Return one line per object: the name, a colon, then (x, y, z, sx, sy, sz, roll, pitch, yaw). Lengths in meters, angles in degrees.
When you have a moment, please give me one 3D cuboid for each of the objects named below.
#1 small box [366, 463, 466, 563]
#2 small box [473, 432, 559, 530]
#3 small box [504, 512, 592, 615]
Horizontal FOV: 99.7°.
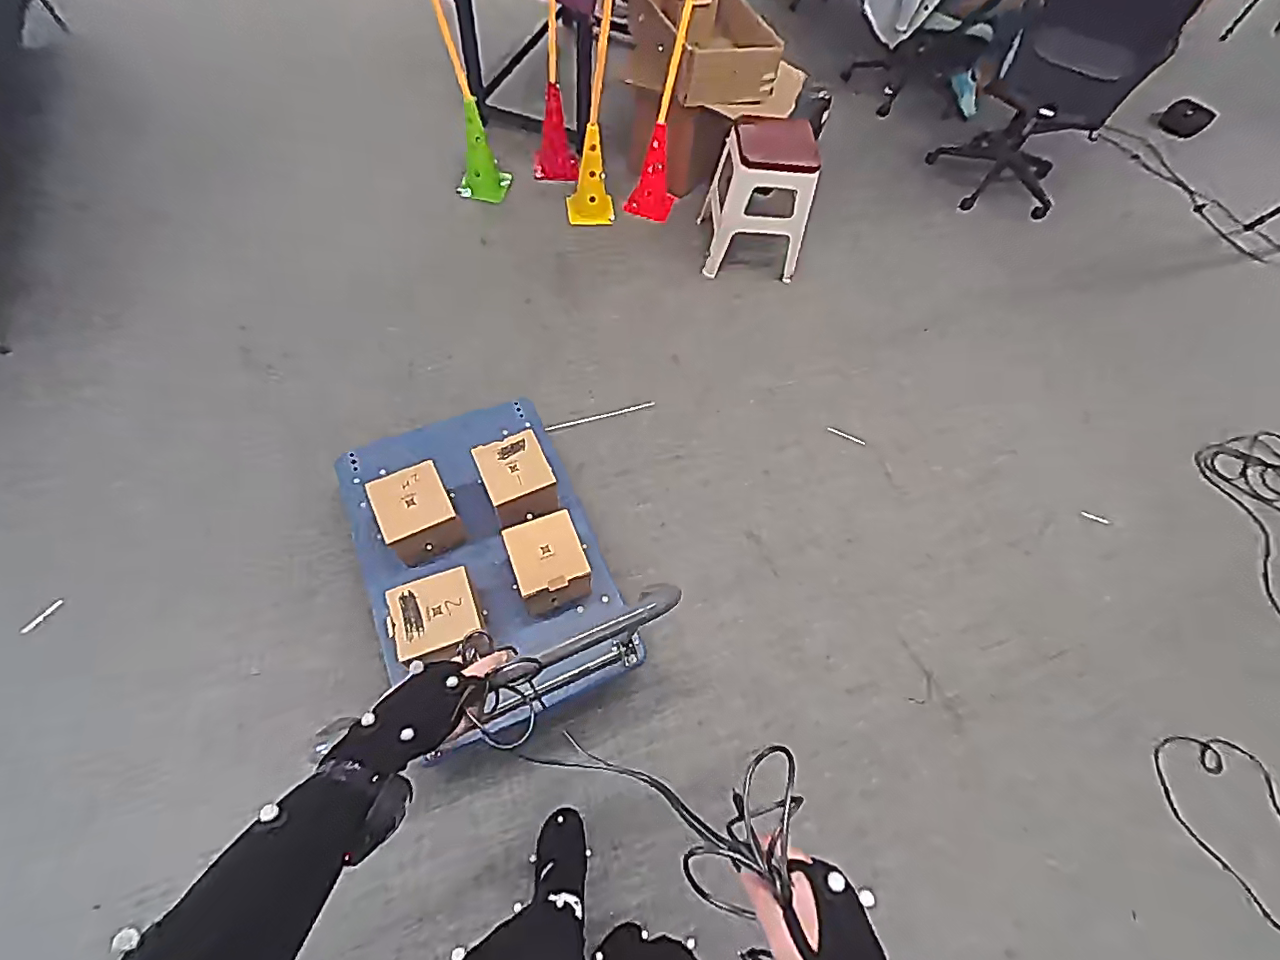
small box: (-0.555, 0.093, 1.361, 0.168, 0.176, 0.179, -24, 67, -18)
small box: (-0.324, 0.007, 1.429, 0.168, 0.176, 0.179, -22, 67, -15)
small box: (-0.226, 0.209, 1.332, 0.168, 0.176, 0.179, -19, 66, -15)
